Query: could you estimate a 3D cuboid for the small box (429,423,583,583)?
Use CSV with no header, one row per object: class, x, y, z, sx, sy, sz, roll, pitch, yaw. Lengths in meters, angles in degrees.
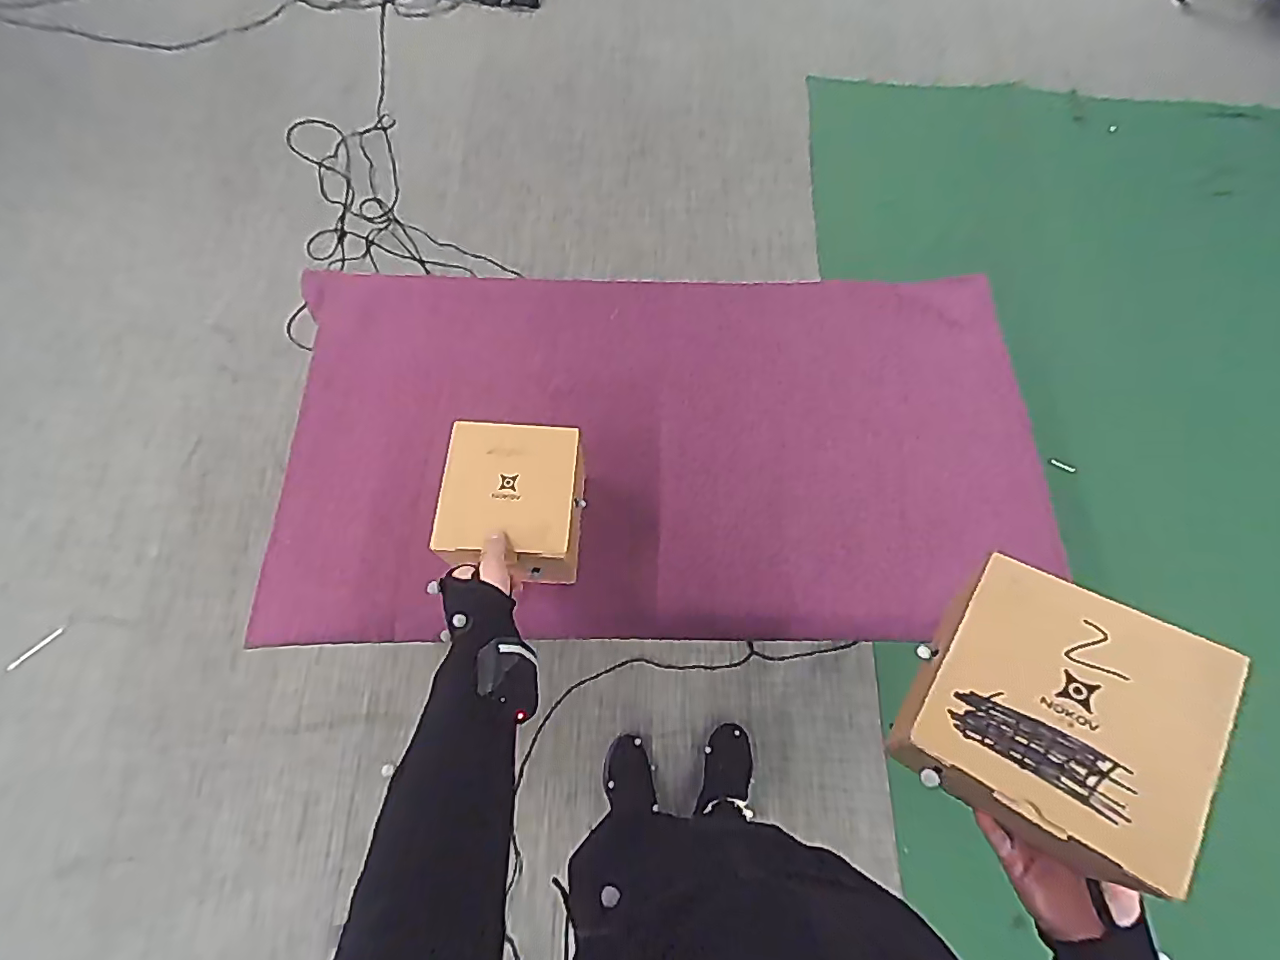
small box,-0.171,0.040,0.755,0.168,0.176,0.179,4,67,-1
